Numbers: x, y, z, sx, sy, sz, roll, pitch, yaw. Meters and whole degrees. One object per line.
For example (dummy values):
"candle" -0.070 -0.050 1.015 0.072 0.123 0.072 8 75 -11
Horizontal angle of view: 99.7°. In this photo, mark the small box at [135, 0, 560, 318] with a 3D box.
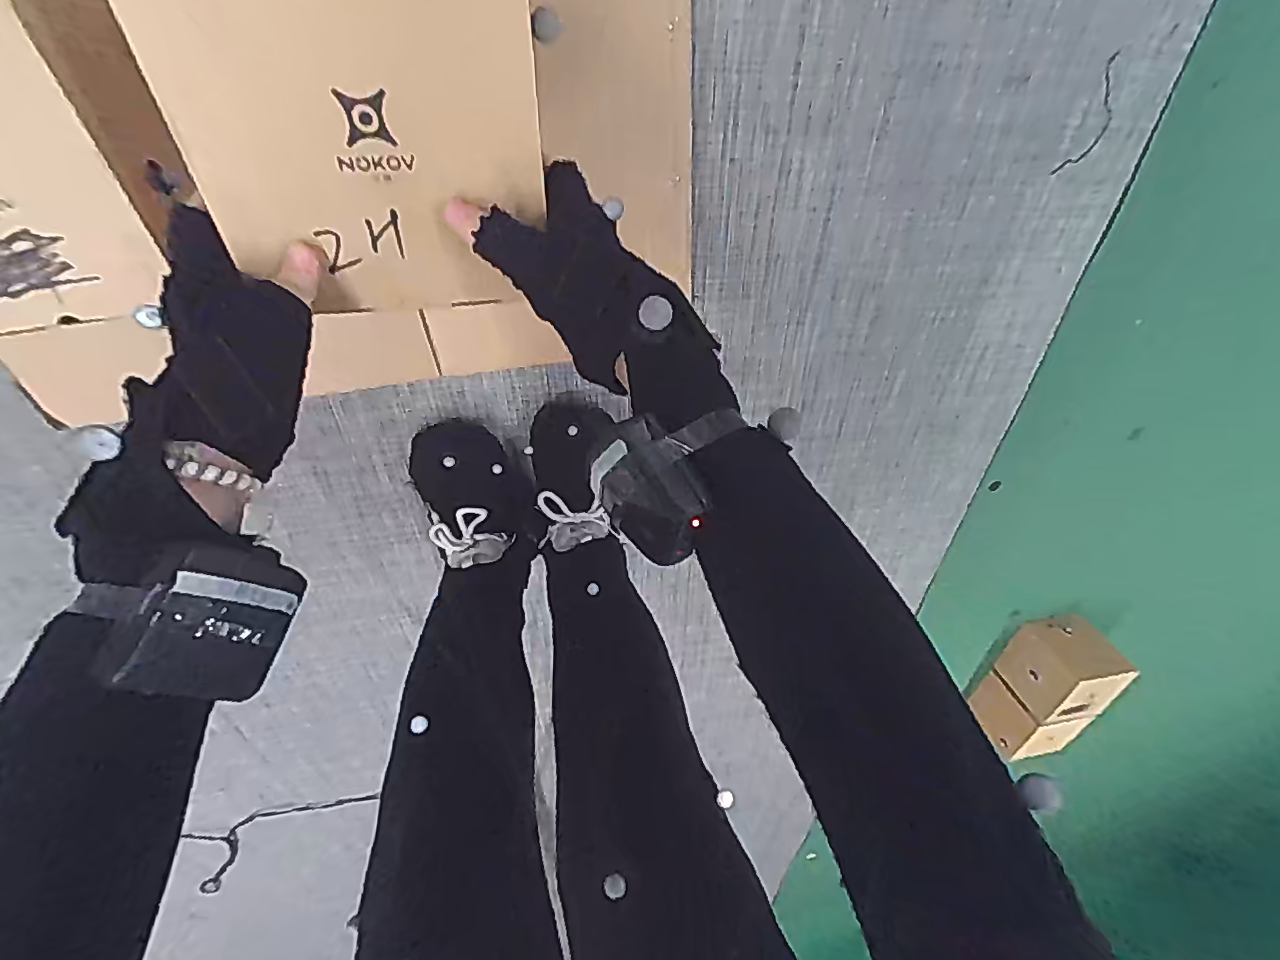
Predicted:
"small box" -0.143 -0.219 0.322 0.168 0.176 0.179 -7 134 -10
